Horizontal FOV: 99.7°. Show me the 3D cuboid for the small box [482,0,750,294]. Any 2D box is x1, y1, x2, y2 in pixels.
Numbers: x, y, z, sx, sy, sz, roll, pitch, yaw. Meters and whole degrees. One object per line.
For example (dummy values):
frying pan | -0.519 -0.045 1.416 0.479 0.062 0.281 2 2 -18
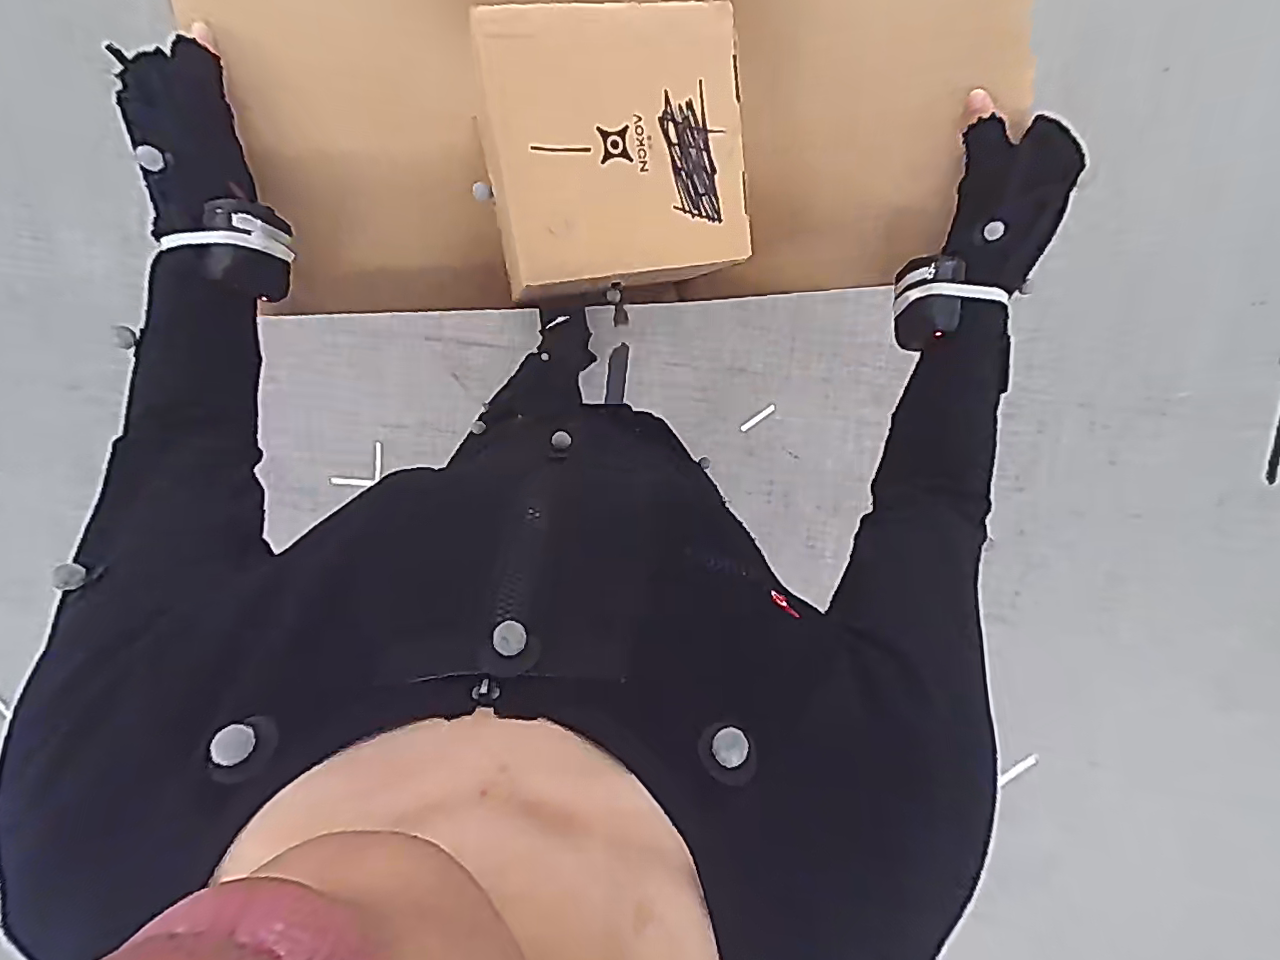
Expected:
small box | -0.028 -0.254 0.450 0.179 0.176 0.168 -12 107 -12
